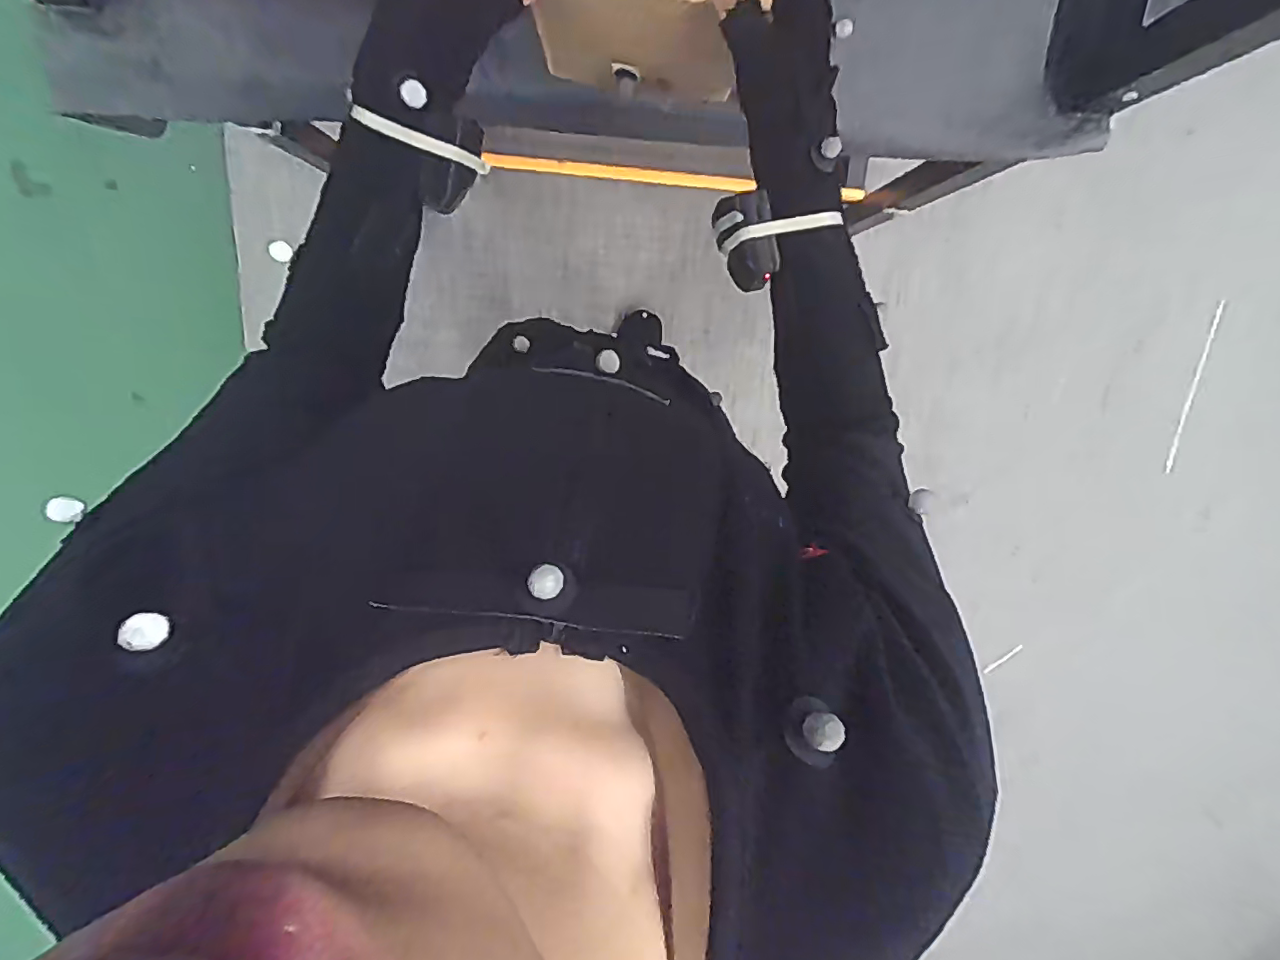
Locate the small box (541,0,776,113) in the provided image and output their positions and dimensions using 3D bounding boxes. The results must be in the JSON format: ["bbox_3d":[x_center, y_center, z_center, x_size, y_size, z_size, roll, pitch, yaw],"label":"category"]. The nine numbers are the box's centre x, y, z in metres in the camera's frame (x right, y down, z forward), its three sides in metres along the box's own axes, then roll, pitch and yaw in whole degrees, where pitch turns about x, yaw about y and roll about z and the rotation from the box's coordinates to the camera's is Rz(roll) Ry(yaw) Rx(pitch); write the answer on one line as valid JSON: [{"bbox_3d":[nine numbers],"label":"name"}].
[{"bbox_3d":[0.013,-0.415,0.410,0.168,0.176,0.179,5,107,-3],"label":"small box"}]
